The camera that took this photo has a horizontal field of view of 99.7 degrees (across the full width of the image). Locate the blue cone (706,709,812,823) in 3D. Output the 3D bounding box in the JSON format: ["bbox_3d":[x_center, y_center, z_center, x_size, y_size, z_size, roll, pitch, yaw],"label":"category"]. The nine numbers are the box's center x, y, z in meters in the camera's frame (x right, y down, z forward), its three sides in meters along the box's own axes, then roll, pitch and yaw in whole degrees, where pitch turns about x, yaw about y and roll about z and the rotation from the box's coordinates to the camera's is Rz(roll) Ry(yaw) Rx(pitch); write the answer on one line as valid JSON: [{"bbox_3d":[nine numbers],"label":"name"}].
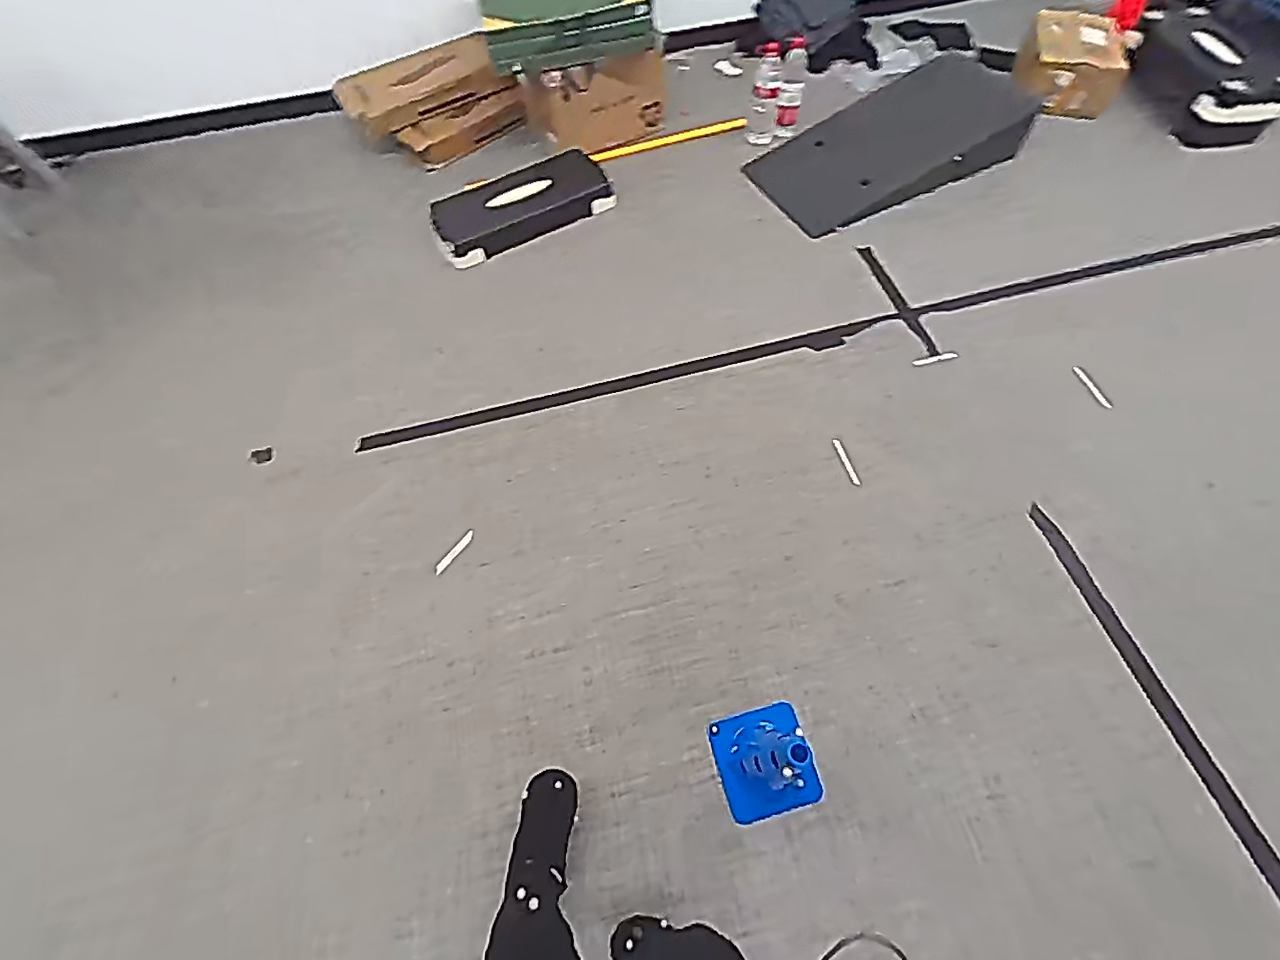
[{"bbox_3d":[0.243,0.518,0.999,0.192,0.380,0.193,-13,61,-4],"label":"blue cone"}]
